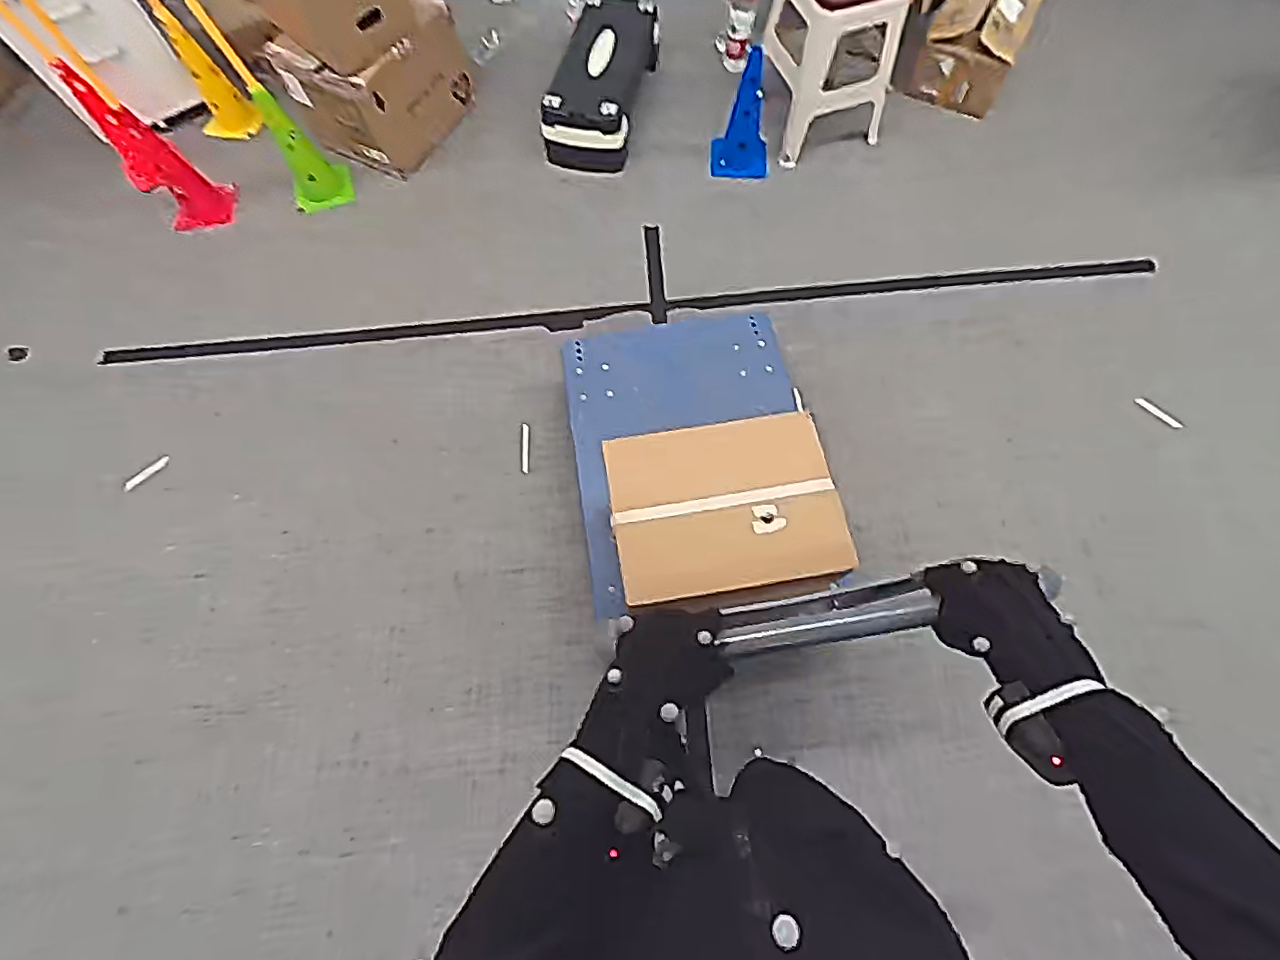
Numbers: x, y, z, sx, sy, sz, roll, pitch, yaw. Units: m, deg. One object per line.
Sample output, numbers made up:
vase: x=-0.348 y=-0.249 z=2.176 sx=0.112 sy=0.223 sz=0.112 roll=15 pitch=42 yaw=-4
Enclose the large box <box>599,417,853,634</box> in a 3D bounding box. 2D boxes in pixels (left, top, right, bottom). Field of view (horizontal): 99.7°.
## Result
large box: x=0.143 y=0.108 z=1.100 sx=0.408 sy=0.320 sz=0.320 roll=-9 pitch=69 yaw=-4
